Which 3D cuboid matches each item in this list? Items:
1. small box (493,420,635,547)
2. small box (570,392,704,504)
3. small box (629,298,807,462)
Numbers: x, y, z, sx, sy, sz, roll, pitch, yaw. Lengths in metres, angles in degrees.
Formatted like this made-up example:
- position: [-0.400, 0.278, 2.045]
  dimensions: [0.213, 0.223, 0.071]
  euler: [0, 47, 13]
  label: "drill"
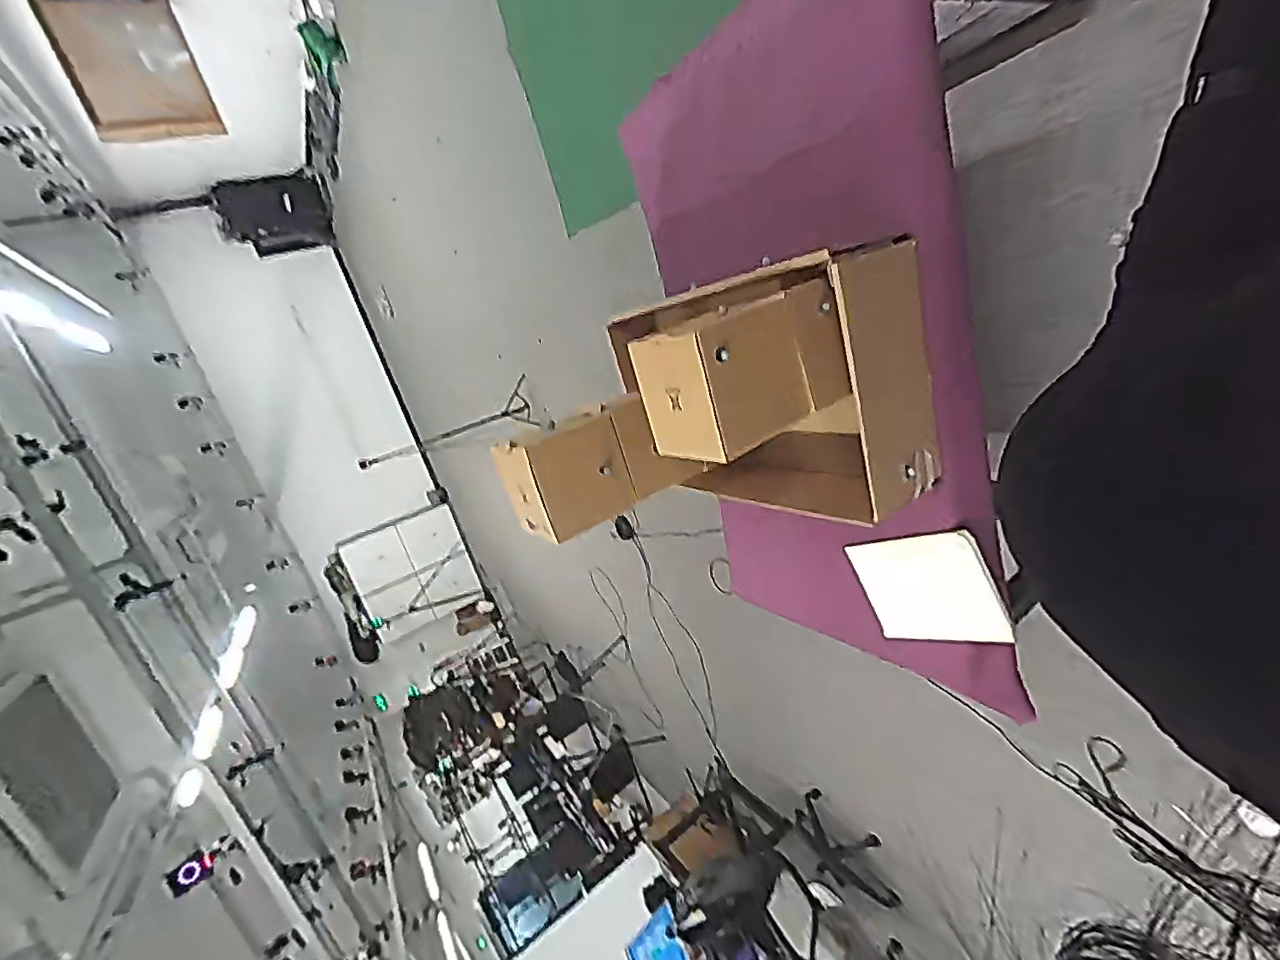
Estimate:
- position: [-0.135, -0.005, 0.971]
  dimensions: [0.168, 0.176, 0.179]
  euler: [8, 119, 57]
  label: "small box"
- position: [-0.005, -0.071, 1.046]
  dimensions: [0.168, 0.176, 0.179]
  euler: [5, 117, 57]
  label: "small box"
- position: [0.115, -0.142, 0.774]
  dimensions: [0.168, 0.176, 0.179]
  euler: [12, 123, 58]
  label: "small box"
